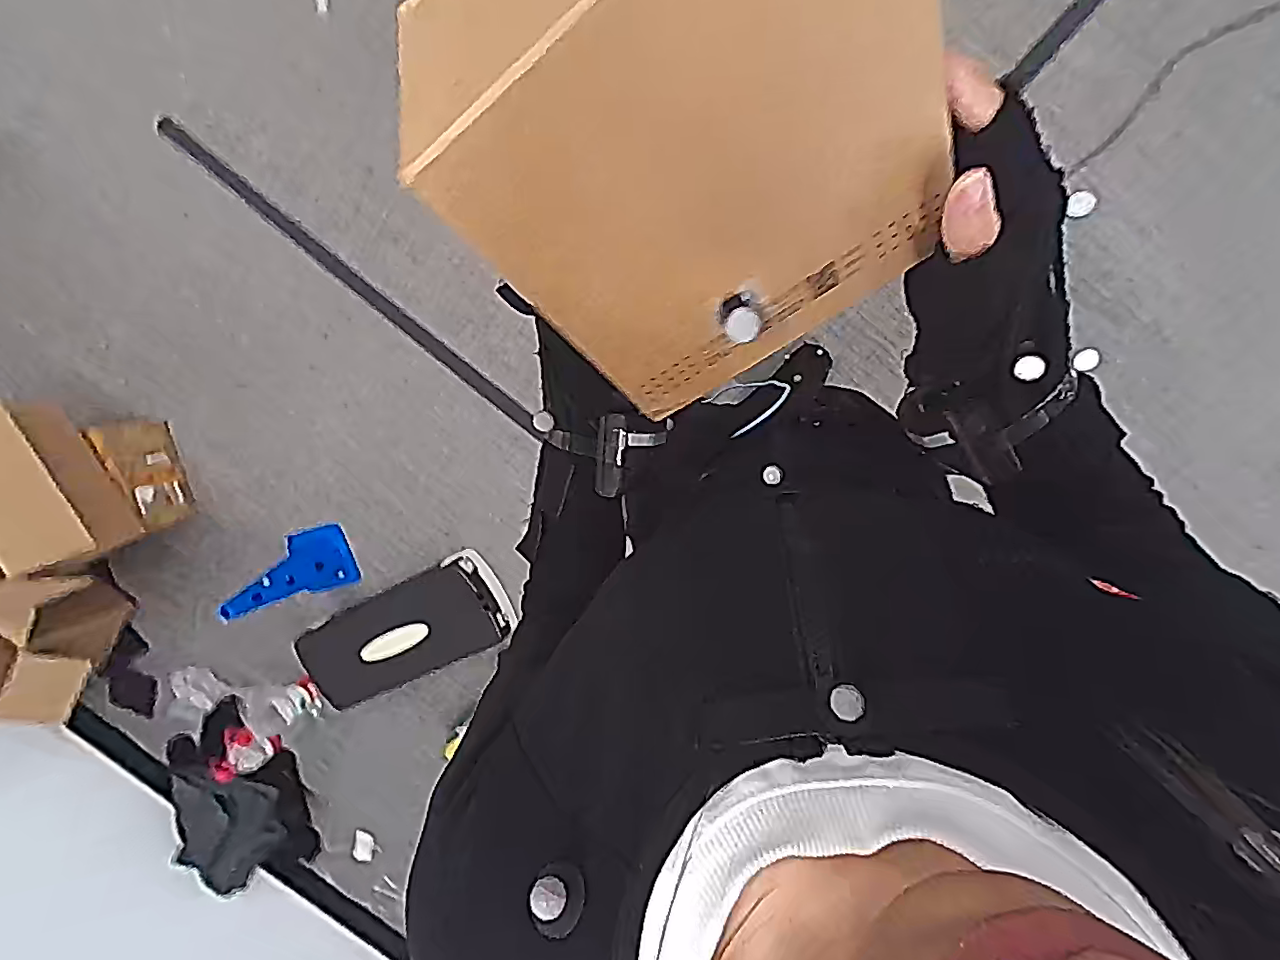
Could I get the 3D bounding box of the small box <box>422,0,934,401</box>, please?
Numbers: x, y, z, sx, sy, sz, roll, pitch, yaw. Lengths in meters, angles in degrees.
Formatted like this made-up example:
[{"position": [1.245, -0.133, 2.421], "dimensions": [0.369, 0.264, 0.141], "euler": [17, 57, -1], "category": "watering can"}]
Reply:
[{"position": [0.019, -0.173, 0.270], "dimensions": [0.168, 0.176, 0.179], "euler": [-29, 53, 20], "category": "small box"}]
